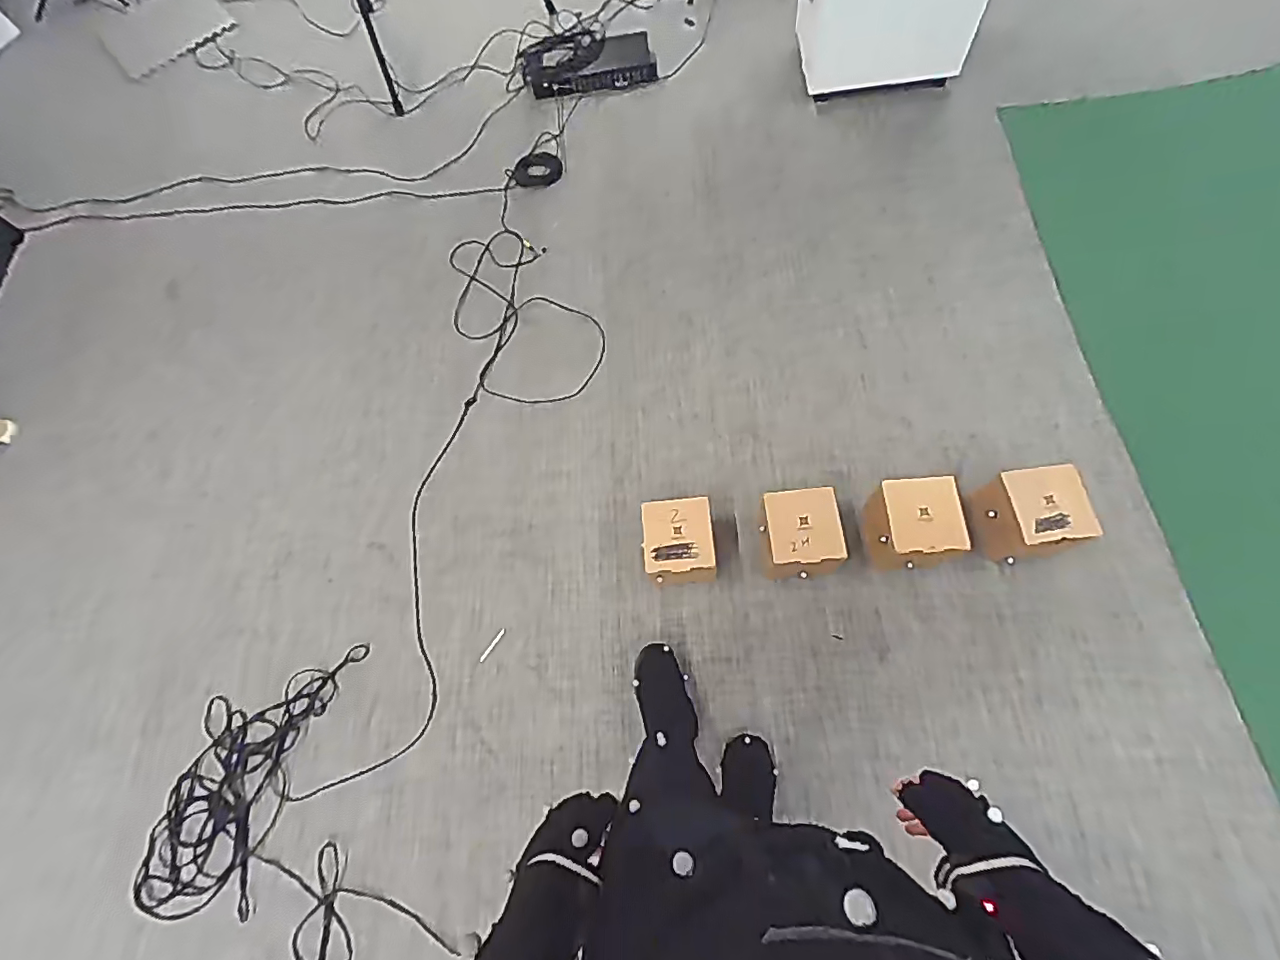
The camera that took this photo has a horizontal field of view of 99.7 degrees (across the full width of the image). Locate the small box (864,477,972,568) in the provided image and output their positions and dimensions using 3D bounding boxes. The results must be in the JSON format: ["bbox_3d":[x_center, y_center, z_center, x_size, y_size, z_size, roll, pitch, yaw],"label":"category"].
[{"bbox_3d":[0.655,0.106,1.299,0.168,0.176,0.179,-4,69,5],"label":"small box"}]

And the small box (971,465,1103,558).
[{"bbox_3d":[0.922,0.082,1.275,0.168,0.176,0.179,-7,68,4],"label":"small box"}]

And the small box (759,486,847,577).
[{"bbox_3d":[0.388,0.130,1.319,0.168,0.176,0.179,-6,69,6],"label":"small box"}]
